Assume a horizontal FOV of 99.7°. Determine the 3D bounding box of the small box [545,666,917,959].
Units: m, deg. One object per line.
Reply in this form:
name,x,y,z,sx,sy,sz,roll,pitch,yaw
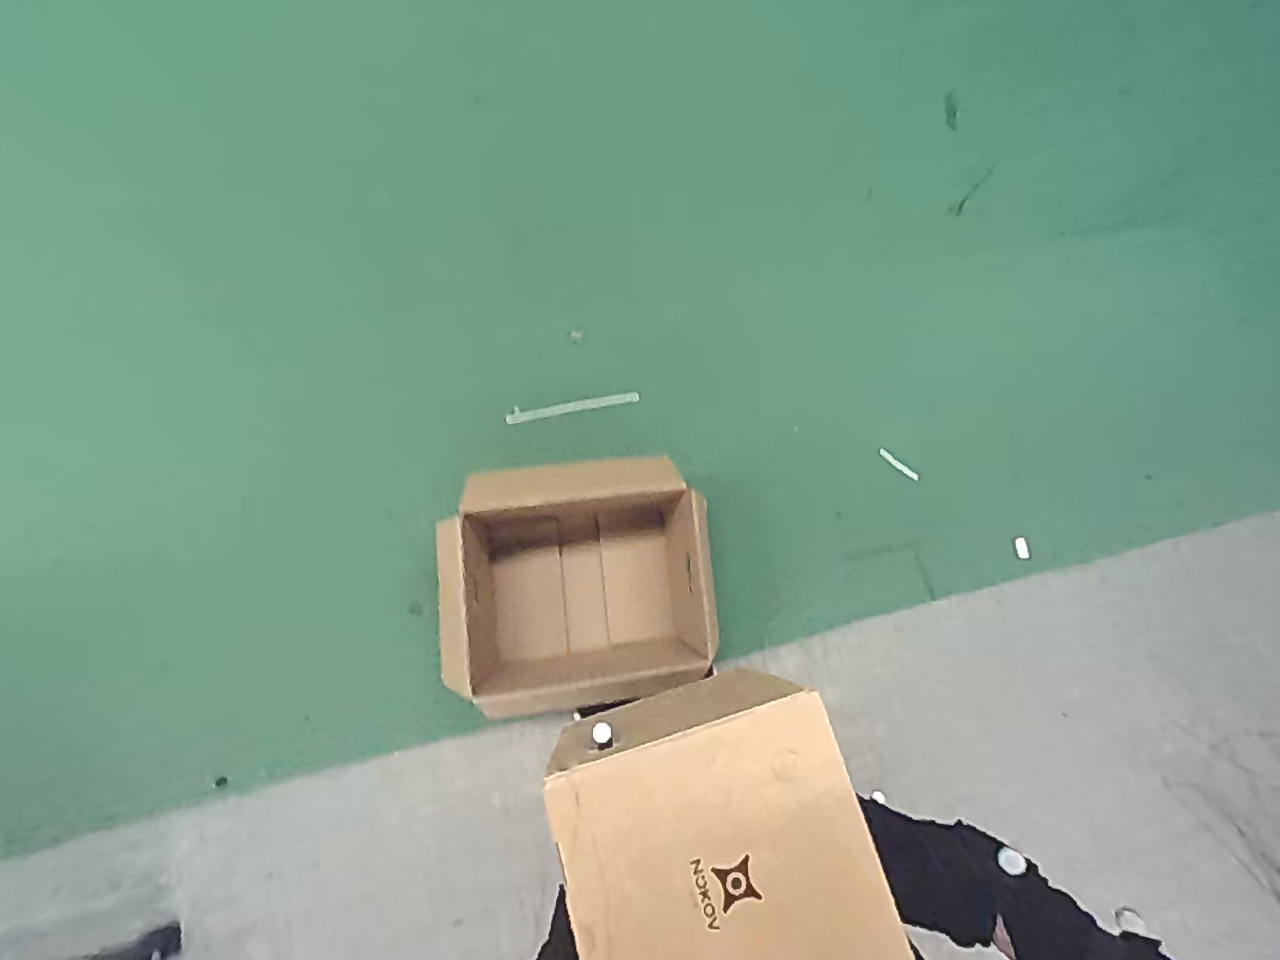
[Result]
small box,0.044,0.238,0.372,0.179,0.176,0.168,-15,78,-6
